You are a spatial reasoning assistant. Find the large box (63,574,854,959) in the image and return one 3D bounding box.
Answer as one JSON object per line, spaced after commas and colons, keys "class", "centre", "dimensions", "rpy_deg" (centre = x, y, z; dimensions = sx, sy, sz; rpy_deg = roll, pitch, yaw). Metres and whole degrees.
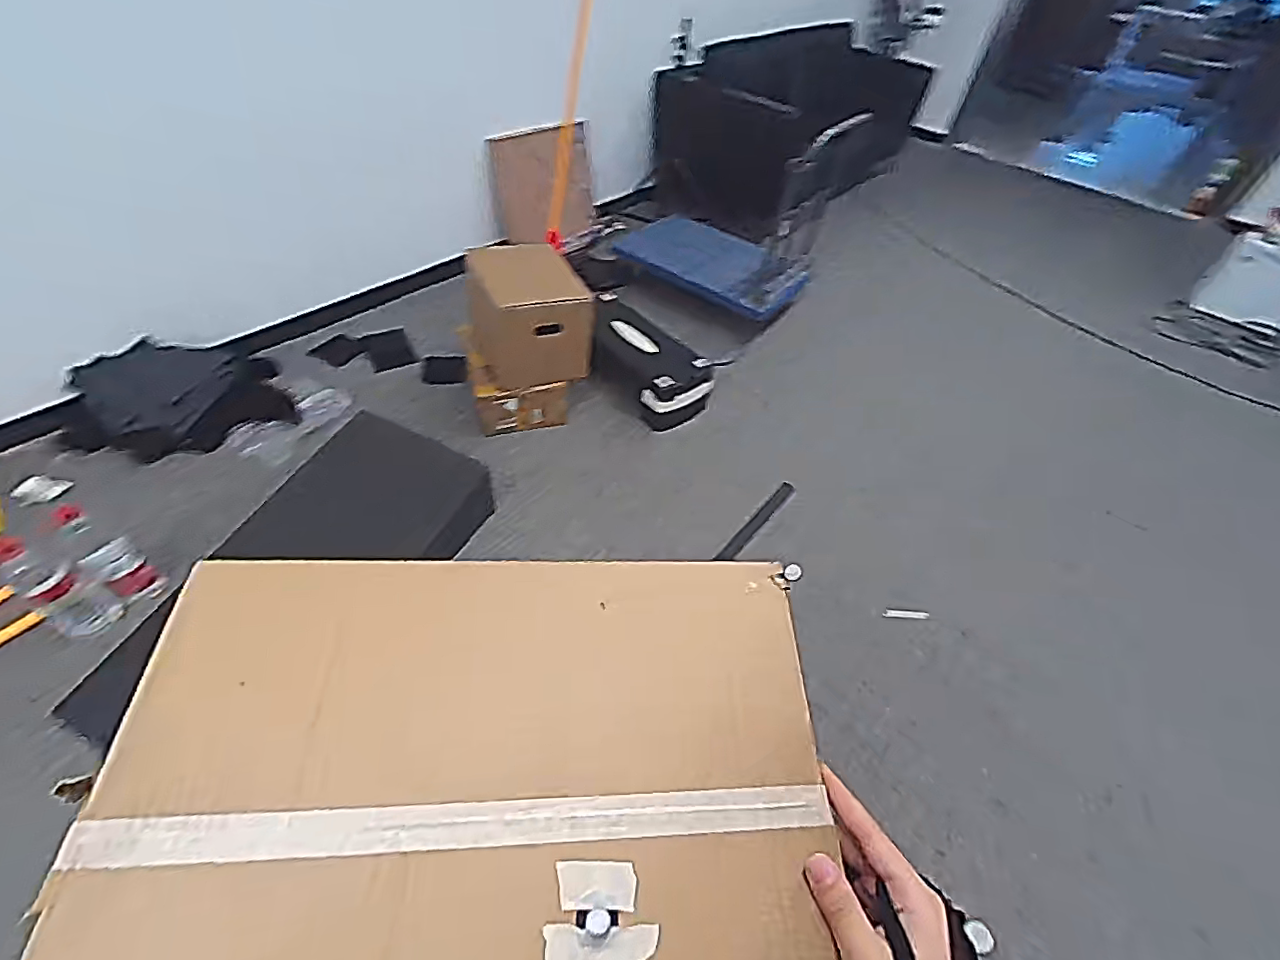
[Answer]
{"class": "large box", "centre": [-0.100, 0.279, 0.432], "dimensions": [0.408, 0.320, 0.320], "rpy_deg": [2, 58, -6]}
